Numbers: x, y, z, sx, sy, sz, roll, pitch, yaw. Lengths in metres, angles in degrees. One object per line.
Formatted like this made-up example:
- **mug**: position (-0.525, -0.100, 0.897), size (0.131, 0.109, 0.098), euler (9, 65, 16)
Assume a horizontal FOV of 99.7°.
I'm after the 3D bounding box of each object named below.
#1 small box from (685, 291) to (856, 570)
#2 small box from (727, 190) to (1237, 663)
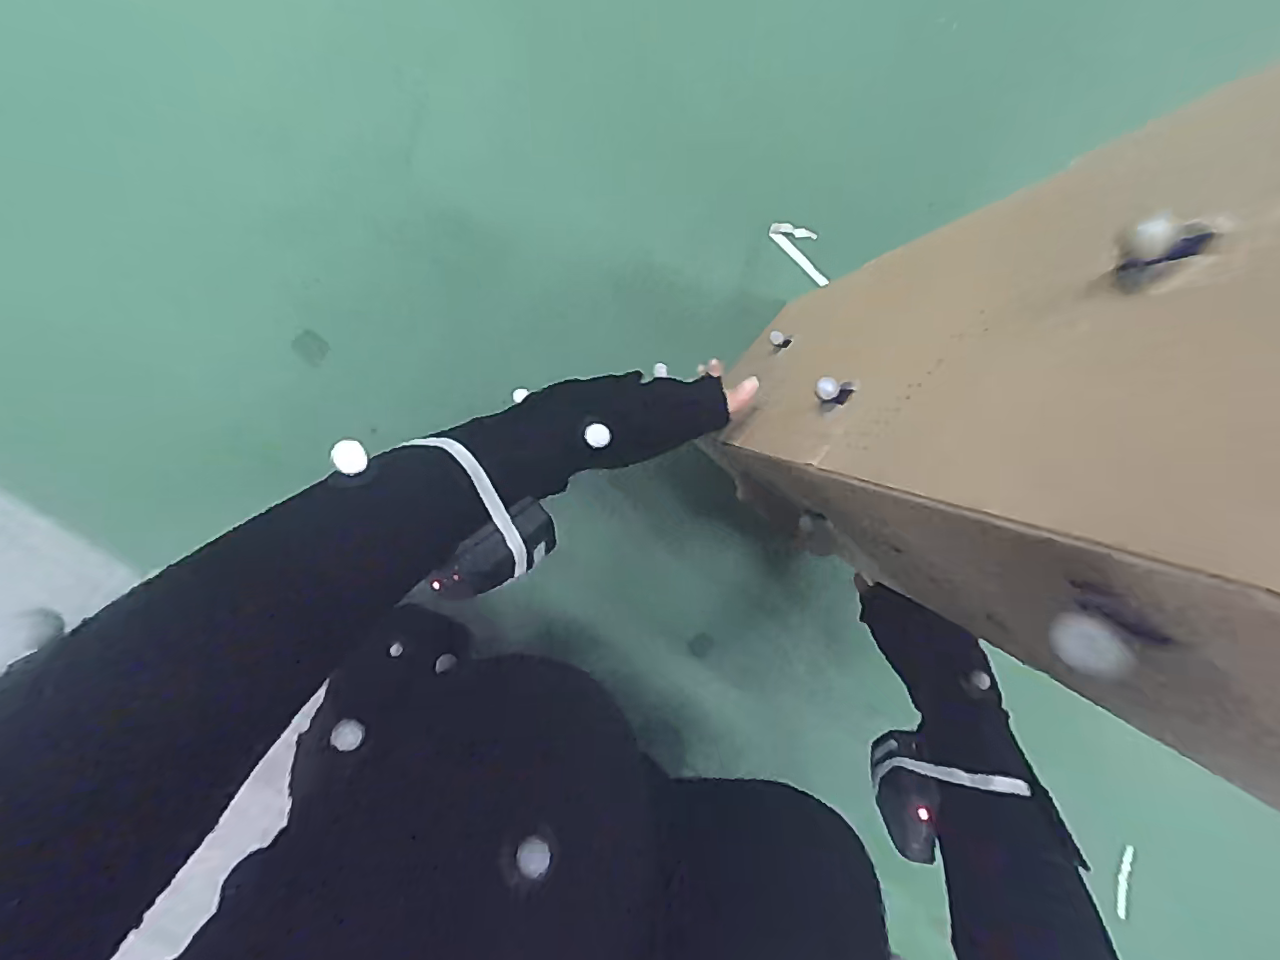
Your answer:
- **small box**: position (0.164, -0.053, 0.503), size (0.168, 0.176, 0.179), euler (41, 92, -10)
- **small box**: position (0.182, -0.031, 0.342), size (0.168, 0.176, 0.179), euler (39, 92, -11)
